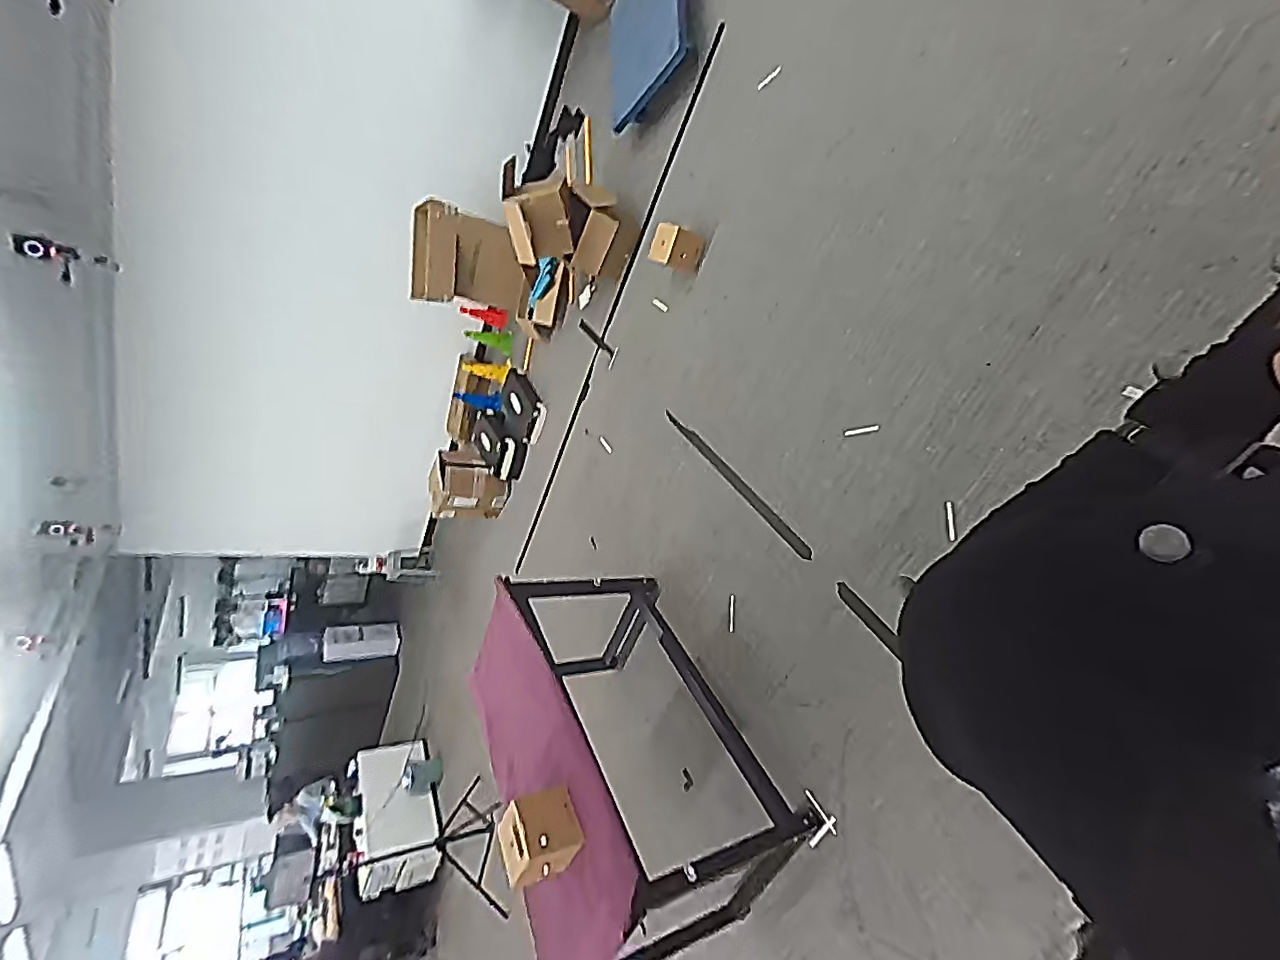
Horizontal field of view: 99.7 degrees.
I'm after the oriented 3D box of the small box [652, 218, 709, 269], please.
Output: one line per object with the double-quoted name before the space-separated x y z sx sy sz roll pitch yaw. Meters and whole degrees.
"small box" 0.189 -1.086 2.490 0.179 0.176 0.168 44 121 49
